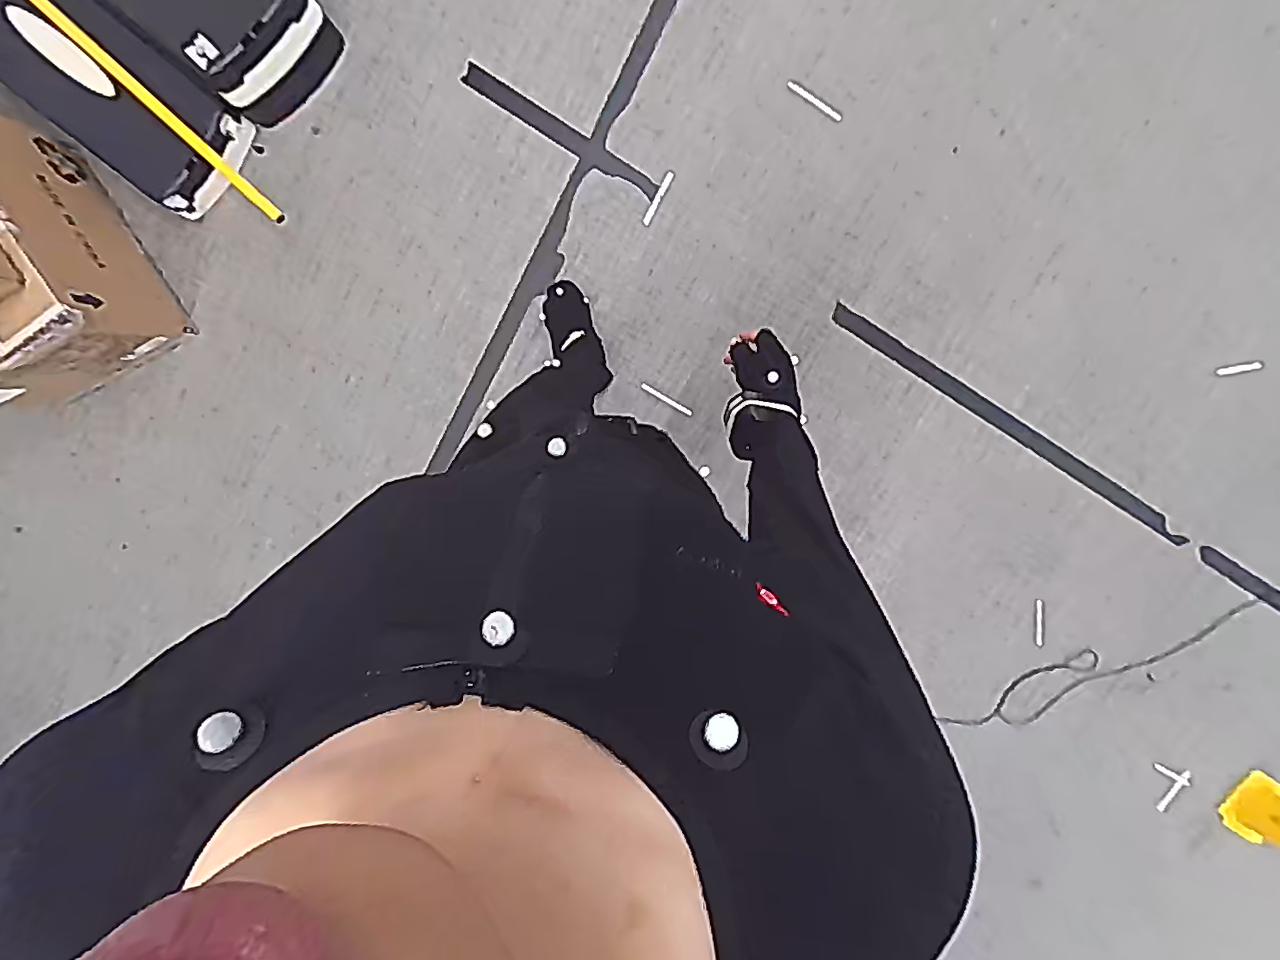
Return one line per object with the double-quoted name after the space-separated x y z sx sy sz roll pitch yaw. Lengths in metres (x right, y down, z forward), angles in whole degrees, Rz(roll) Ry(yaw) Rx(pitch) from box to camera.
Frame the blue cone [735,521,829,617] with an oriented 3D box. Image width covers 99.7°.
0.376 0.253 1.330 0.193 0.380 0.192 24 98 -5 "blue cone"
